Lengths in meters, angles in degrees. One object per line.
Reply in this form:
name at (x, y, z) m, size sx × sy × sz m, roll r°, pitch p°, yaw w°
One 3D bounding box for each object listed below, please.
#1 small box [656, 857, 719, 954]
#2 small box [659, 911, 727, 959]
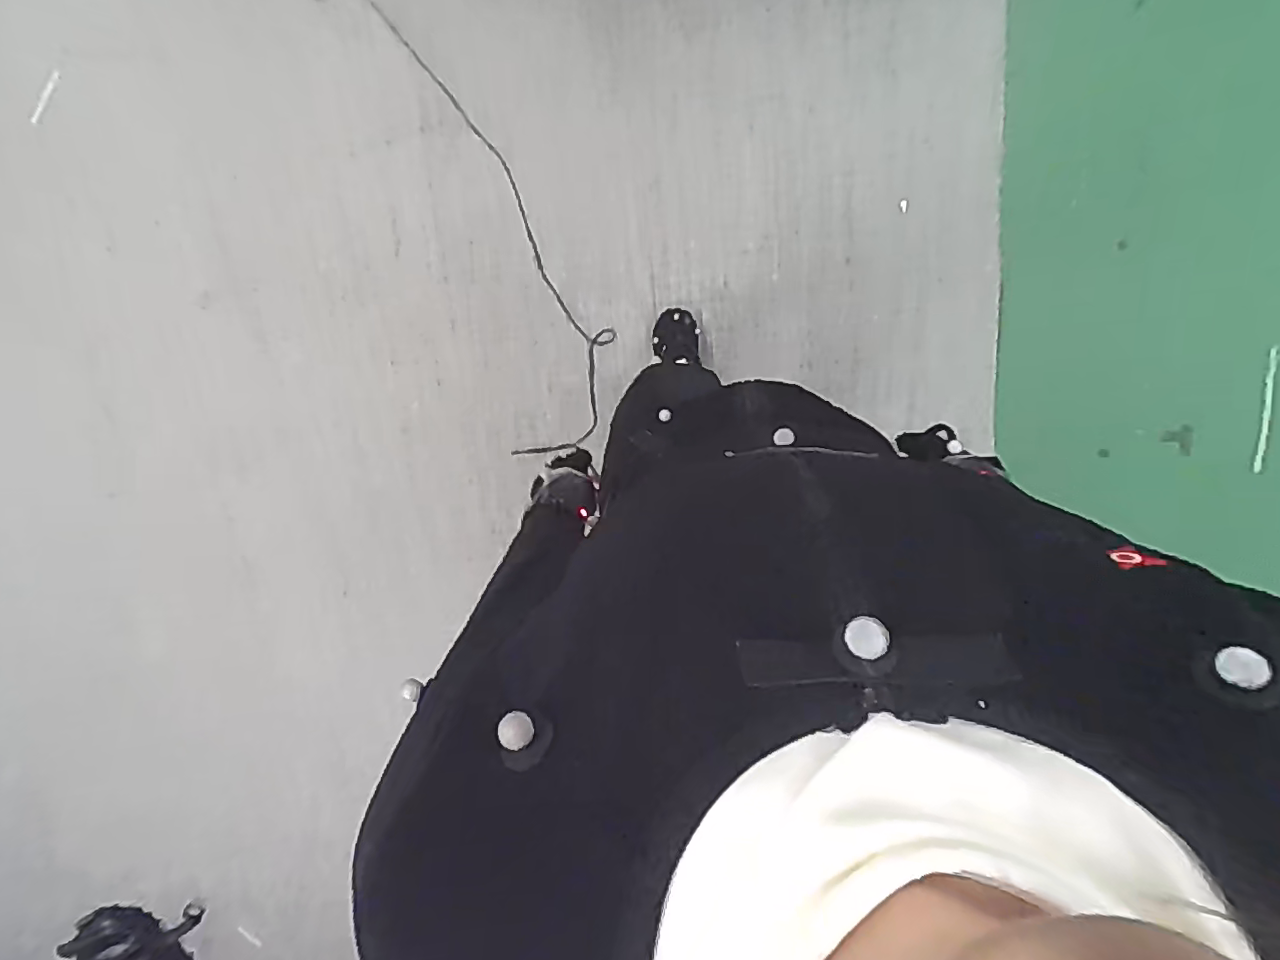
small box at (0.136, 1.252, 1.595) m, size 0.179 × 0.176 × 0.168 m, roll -3°, pitch 102°, yaw 0°
small box at (0.137, 1.289, 1.434) m, size 0.179 × 0.176 × 0.168 m, roll 0°, pitch 102°, yaw 2°
